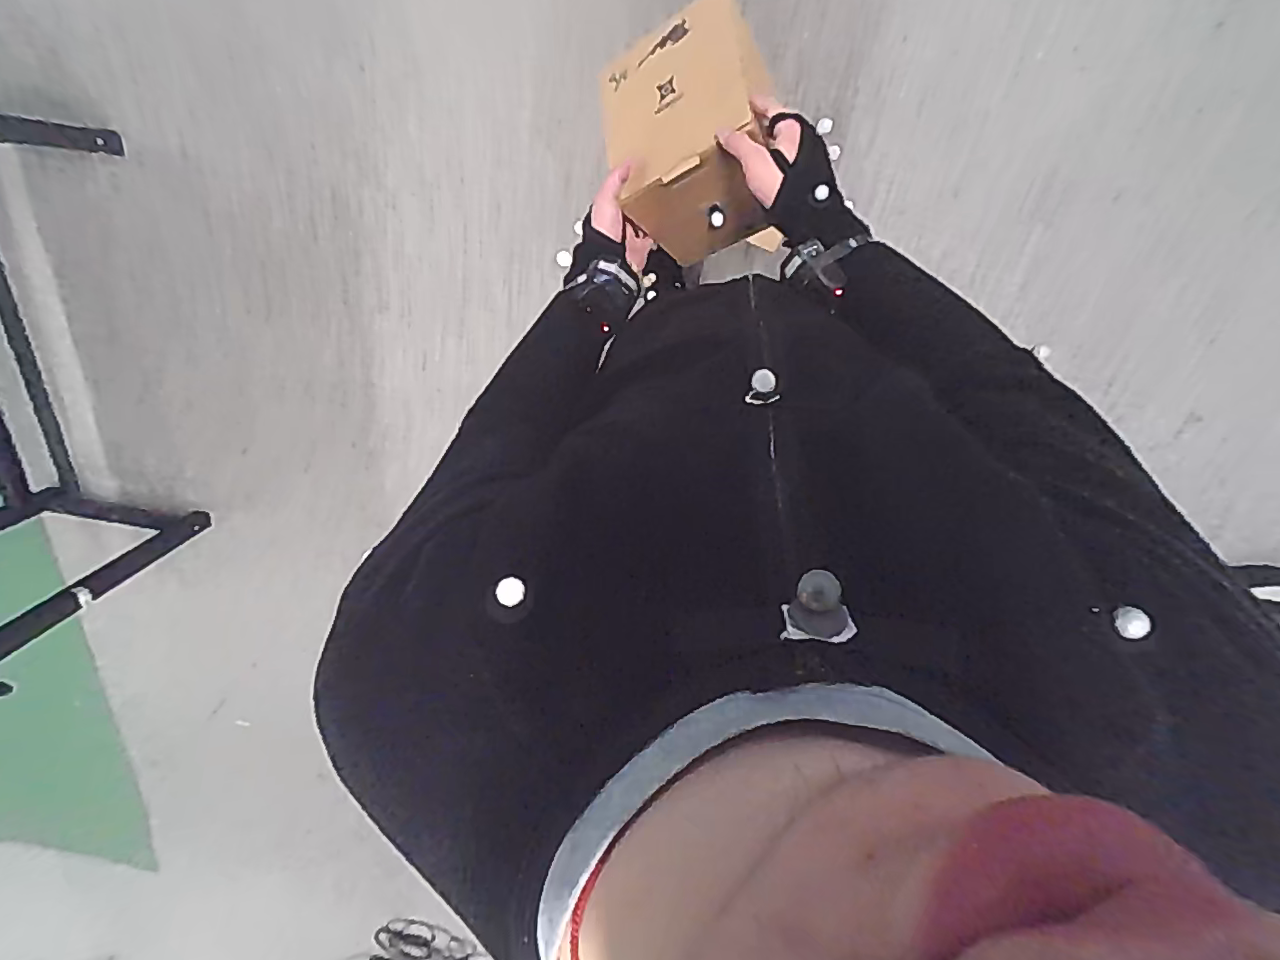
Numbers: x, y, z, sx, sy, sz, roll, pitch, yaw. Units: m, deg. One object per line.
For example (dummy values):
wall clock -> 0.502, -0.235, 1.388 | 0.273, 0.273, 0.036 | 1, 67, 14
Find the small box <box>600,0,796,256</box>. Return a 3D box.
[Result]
small box -> 0.075, -0.397, 0.652 | 0.168, 0.176, 0.179 | -14, 79, 30

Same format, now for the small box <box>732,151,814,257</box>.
small box -> 0.226, -0.581, 1.106 | 0.168, 0.176, 0.179 | 23, 116, -5
